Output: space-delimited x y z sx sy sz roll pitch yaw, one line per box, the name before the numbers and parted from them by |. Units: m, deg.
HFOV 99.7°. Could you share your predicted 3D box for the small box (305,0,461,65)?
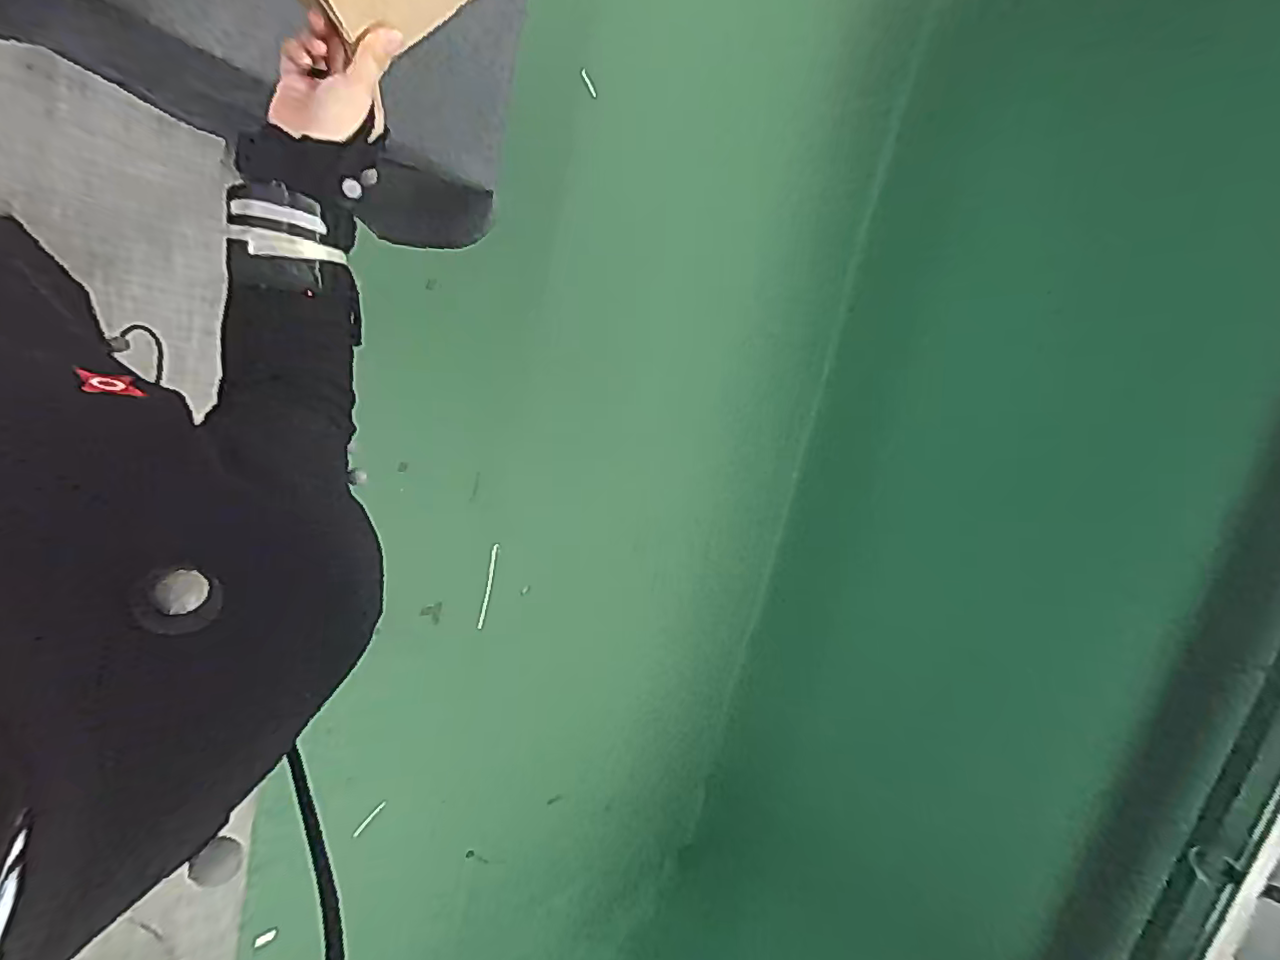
small box | -0.200 -0.435 0.345 0.179 0.176 0.168 -43 169 -5
